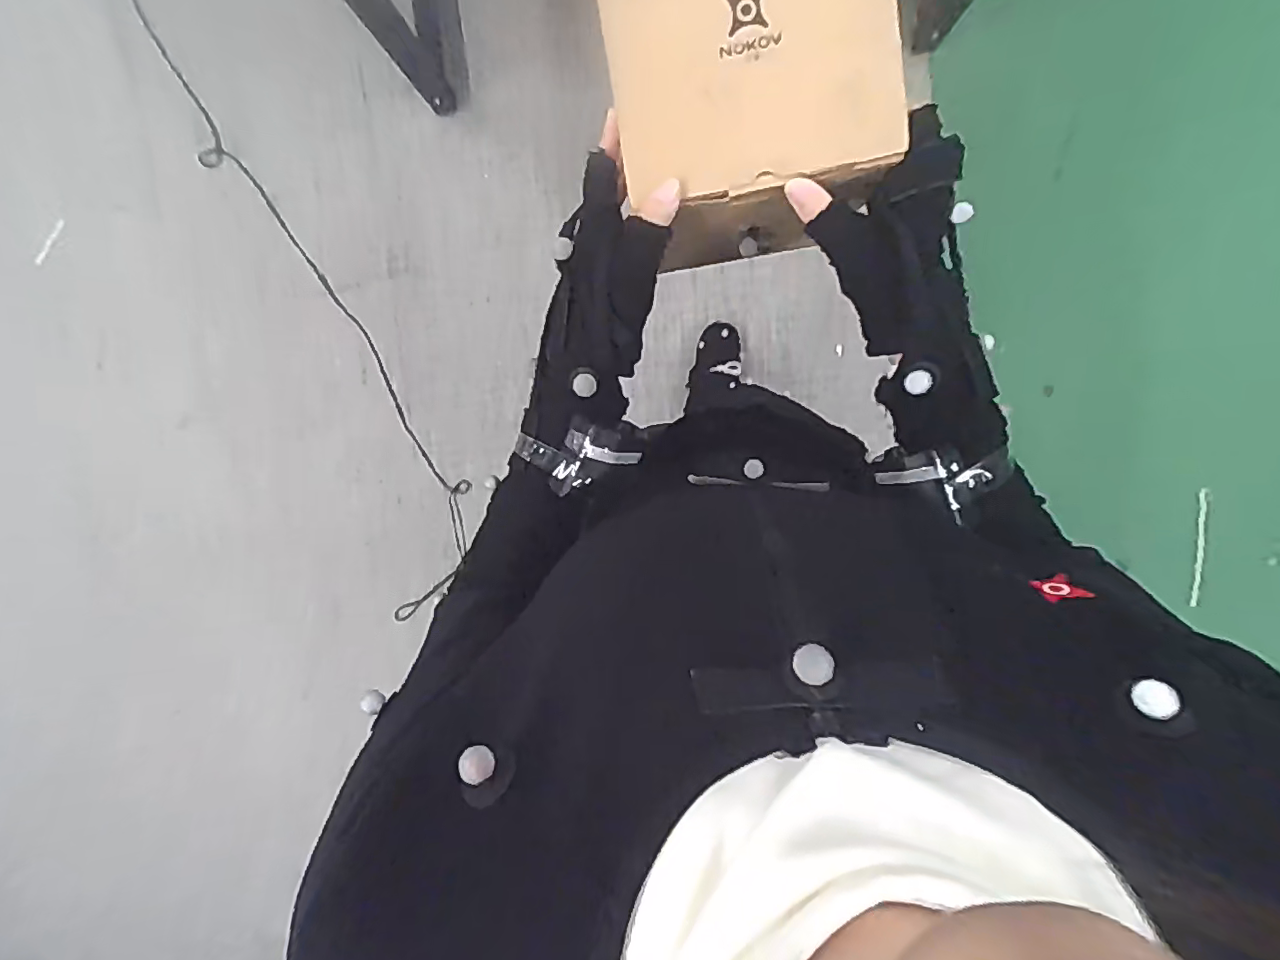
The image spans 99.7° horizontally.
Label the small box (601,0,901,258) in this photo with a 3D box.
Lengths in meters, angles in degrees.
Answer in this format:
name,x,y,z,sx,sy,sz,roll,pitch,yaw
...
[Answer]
name,x,y,z,sx,sy,sz,roll,pitch,yaw
small box,0.070,-0.274,0.393,0.168,0.176,0.179,-9,99,6
